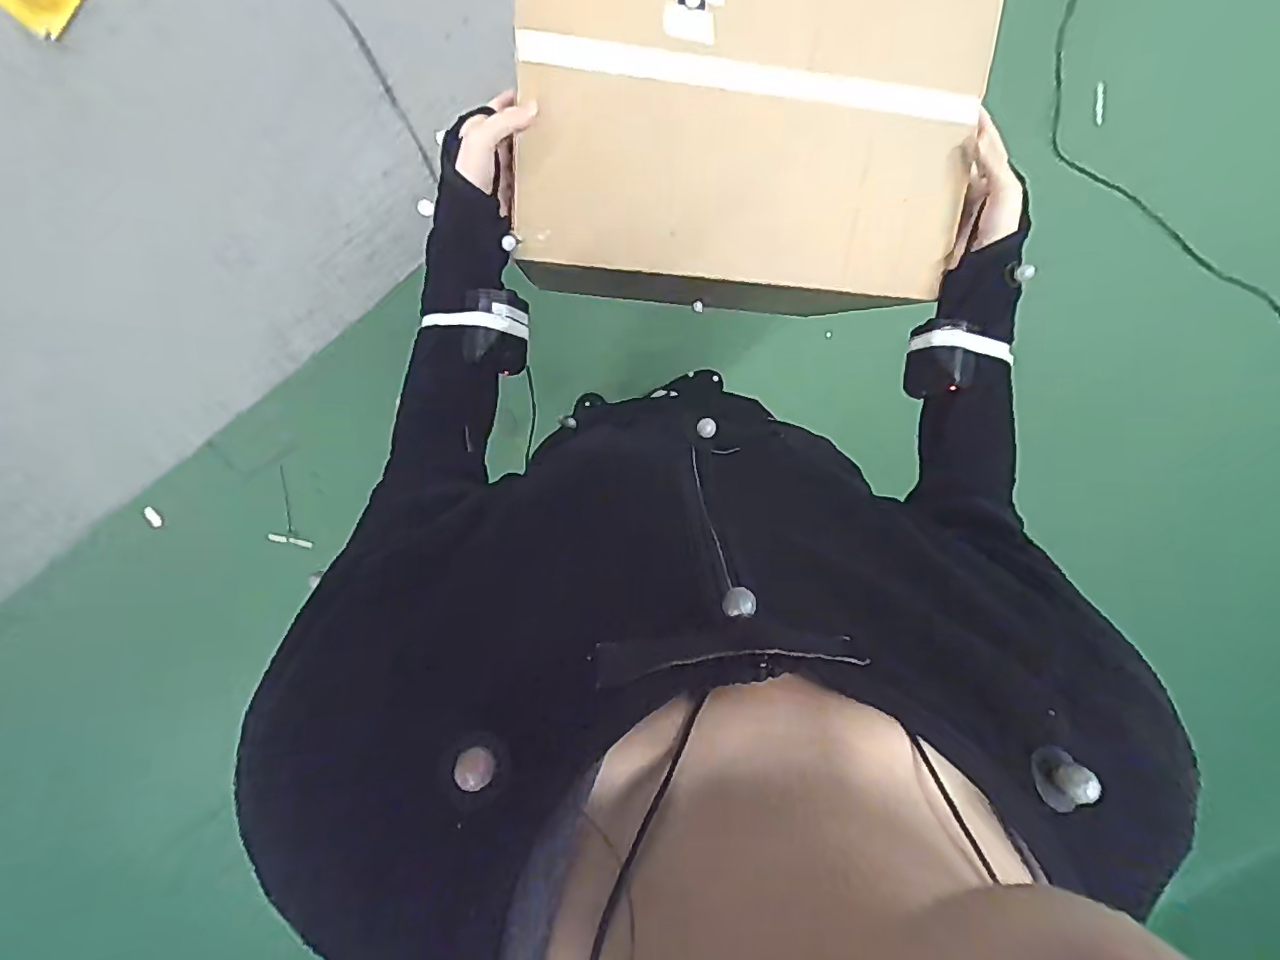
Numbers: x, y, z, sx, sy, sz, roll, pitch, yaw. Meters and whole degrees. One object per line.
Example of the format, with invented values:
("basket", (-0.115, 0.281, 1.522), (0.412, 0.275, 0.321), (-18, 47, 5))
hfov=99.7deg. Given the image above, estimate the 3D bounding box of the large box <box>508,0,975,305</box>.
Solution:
("large box", (0.075, -0.372, 0.612), (0.408, 0.320, 0.320), (2, 103, -6))
